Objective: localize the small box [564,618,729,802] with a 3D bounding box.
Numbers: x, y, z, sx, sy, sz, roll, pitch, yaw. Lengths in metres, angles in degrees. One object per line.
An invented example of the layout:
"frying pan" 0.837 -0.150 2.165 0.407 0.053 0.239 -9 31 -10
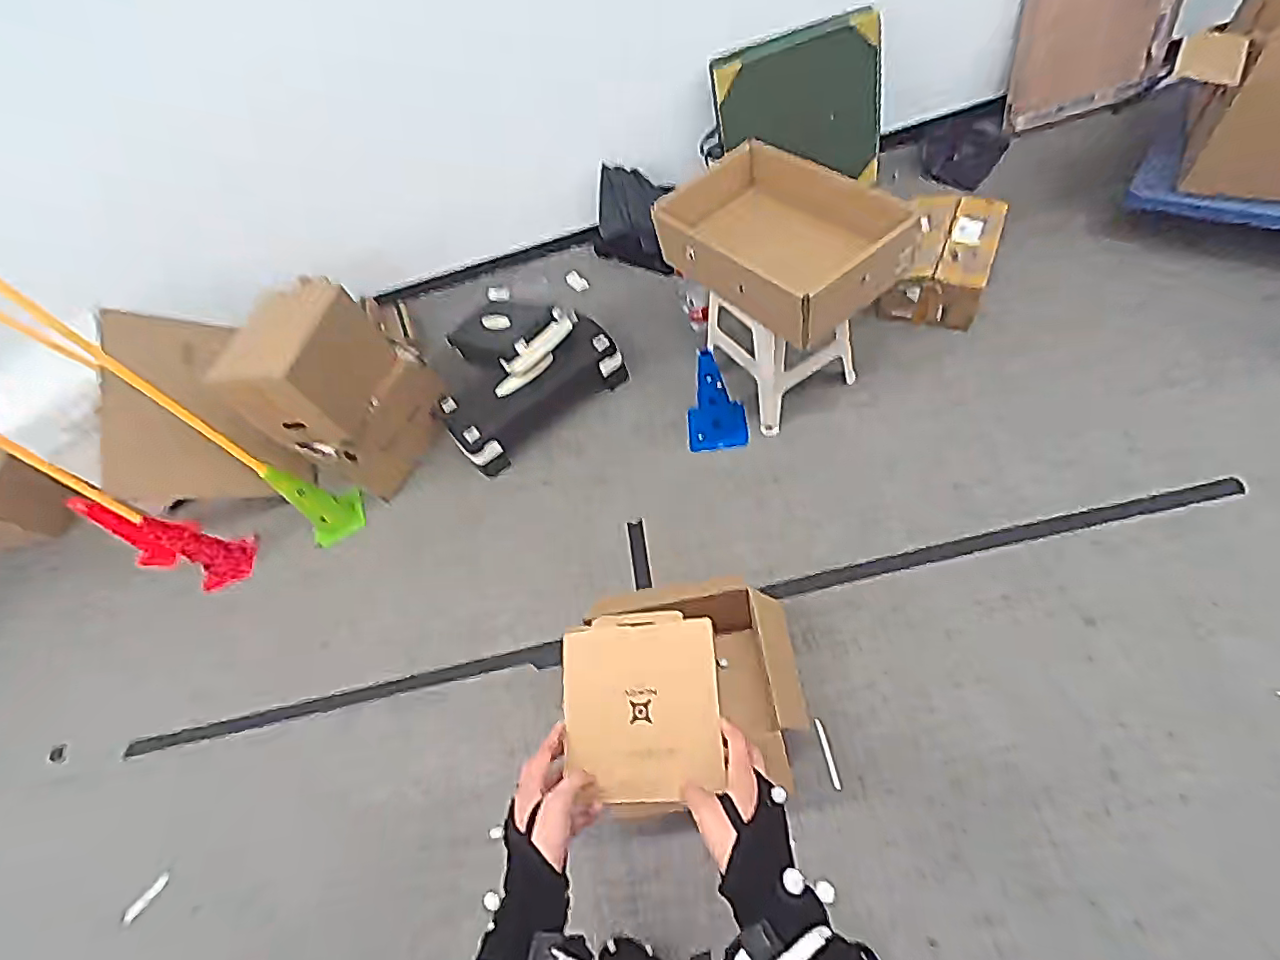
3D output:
"small box" 0.013 0.267 0.636 0.168 0.176 0.179 -5 67 7
